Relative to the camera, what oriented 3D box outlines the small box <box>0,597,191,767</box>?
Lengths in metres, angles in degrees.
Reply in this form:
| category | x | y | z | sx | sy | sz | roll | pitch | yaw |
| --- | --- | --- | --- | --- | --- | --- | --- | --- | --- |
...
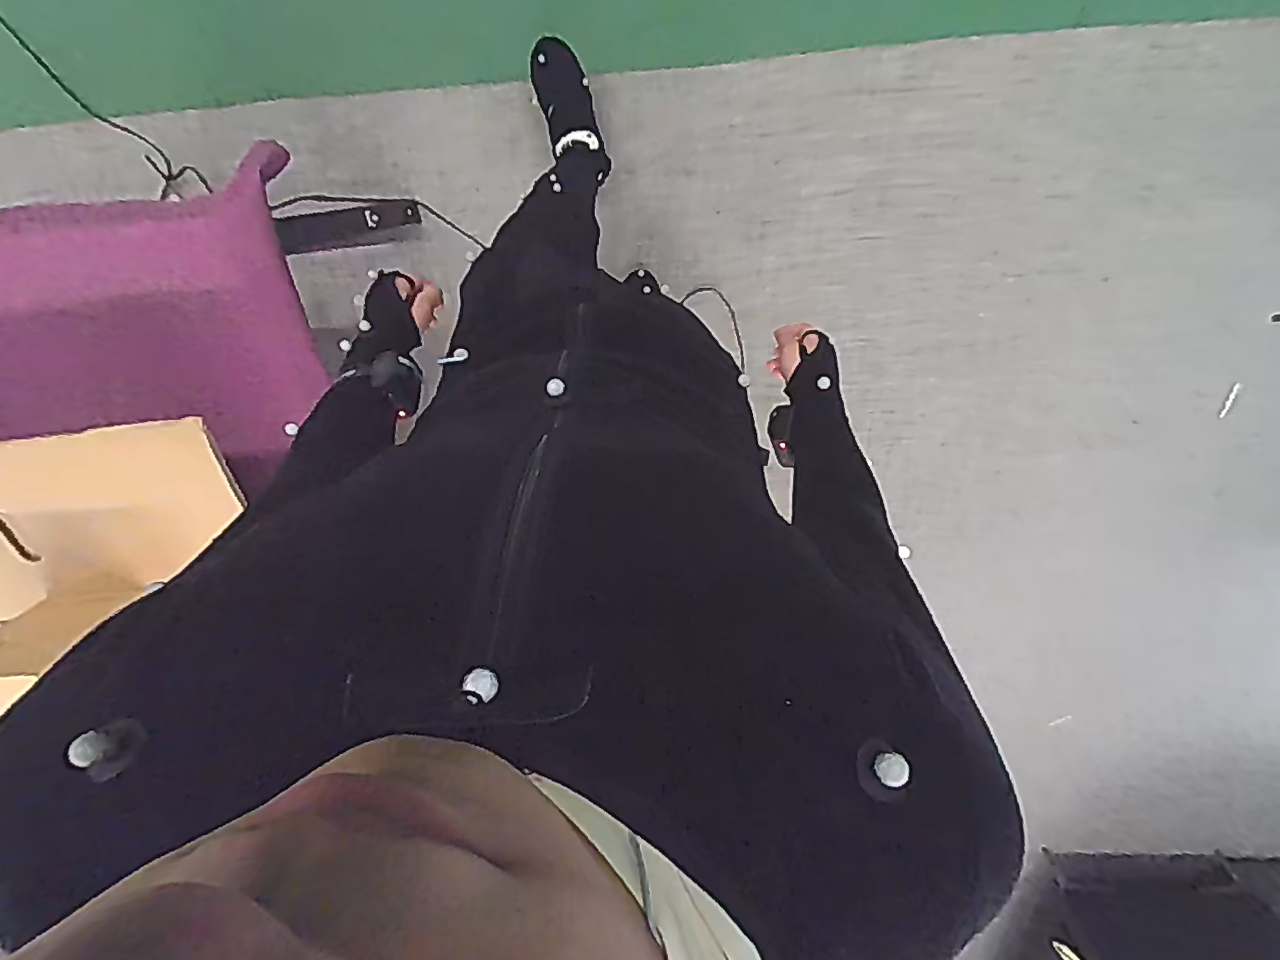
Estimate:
| category | x | y | z | sx | sy | sz | roll | pitch | yaw |
| --- | --- | --- | --- | --- | --- | --- | --- | --- | --- |
| small box | -0.829 | 0.288 | 0.790 | 0.179 | 0.176 | 0.168 | -4 | 118 | 4 |
